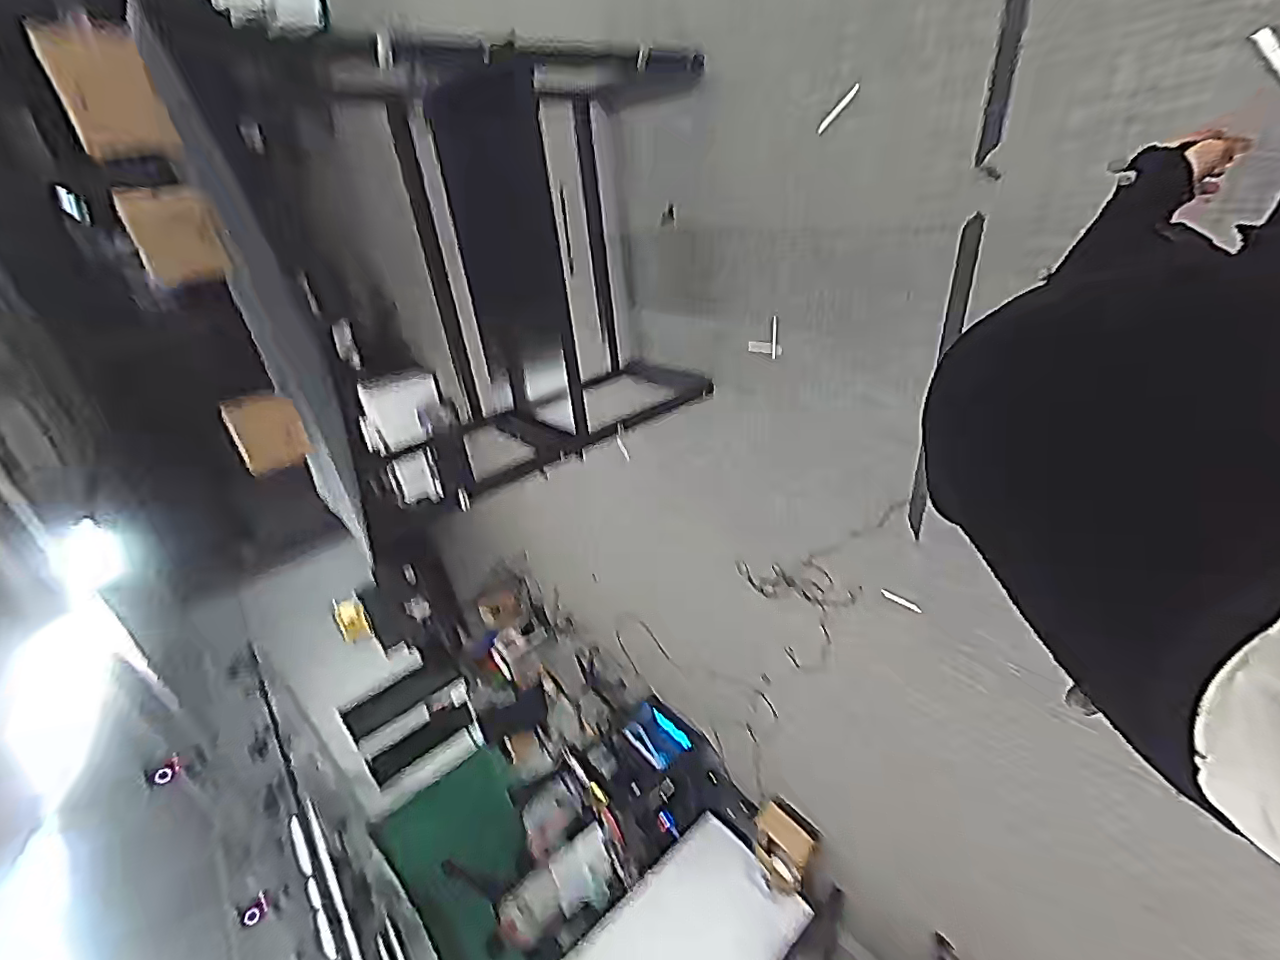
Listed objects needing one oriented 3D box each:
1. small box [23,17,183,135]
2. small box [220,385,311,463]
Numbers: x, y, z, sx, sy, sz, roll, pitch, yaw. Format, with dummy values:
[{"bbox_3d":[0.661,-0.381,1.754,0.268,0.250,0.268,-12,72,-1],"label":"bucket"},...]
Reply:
[{"bbox_3d":[-1.043,-0.786,1.068,0.179,0.176,0.168,28,135,43],"label":"small box"},{"bbox_3d":[-1.112,-0.174,1.612,0.179,0.176,0.168,23,131,44],"label":"small box"}]
